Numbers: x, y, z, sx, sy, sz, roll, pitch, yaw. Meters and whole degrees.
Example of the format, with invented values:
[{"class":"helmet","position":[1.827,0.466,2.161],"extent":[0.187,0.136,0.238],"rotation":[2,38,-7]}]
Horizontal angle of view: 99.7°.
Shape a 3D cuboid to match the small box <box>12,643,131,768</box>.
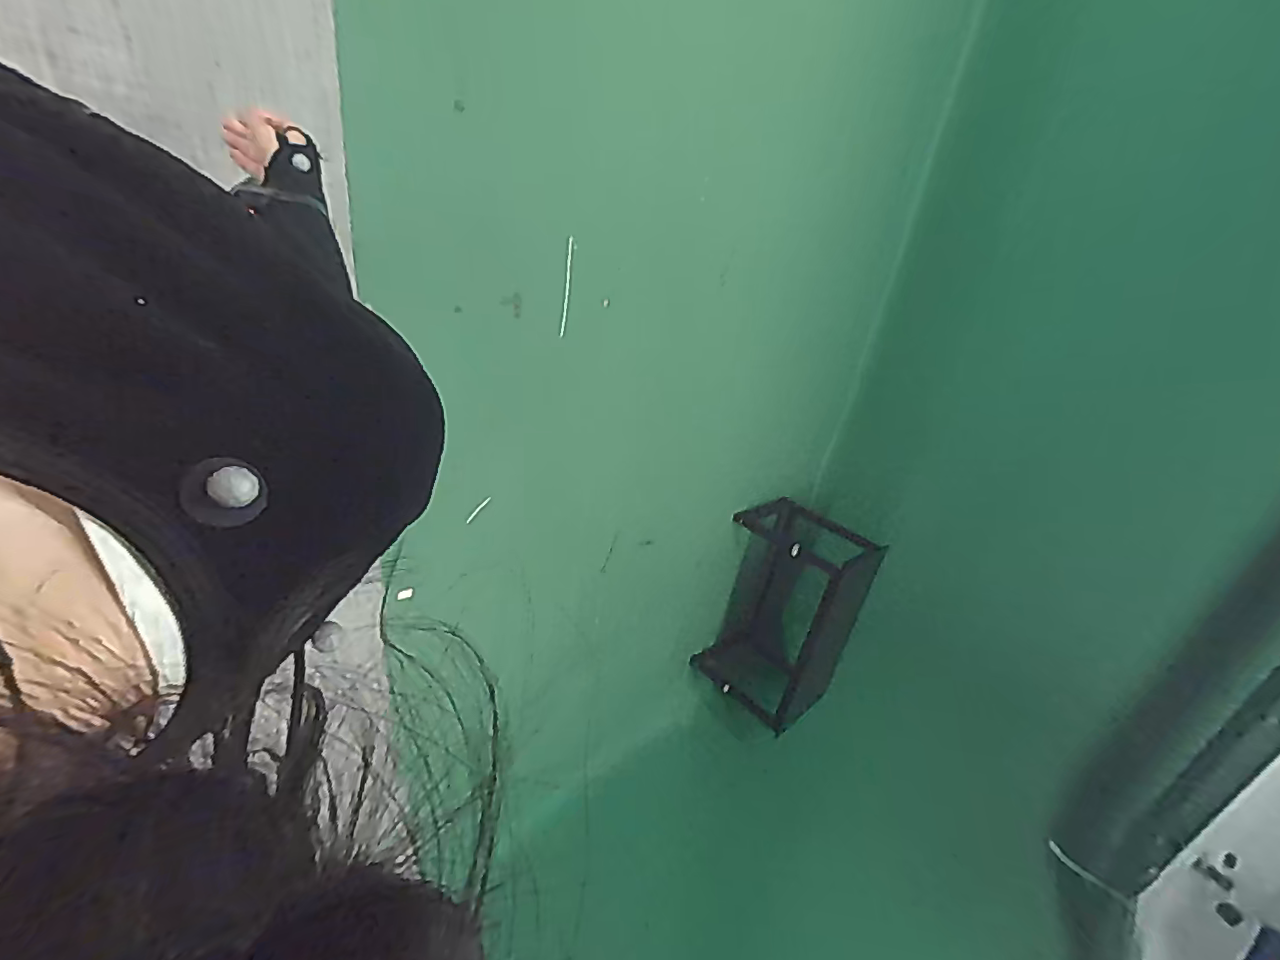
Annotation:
[{"class":"small box","position":[-1.285,0.496,1.224],"extent":[0.168,0.176,0.179],"rotation":[-10,121,-45]}]
